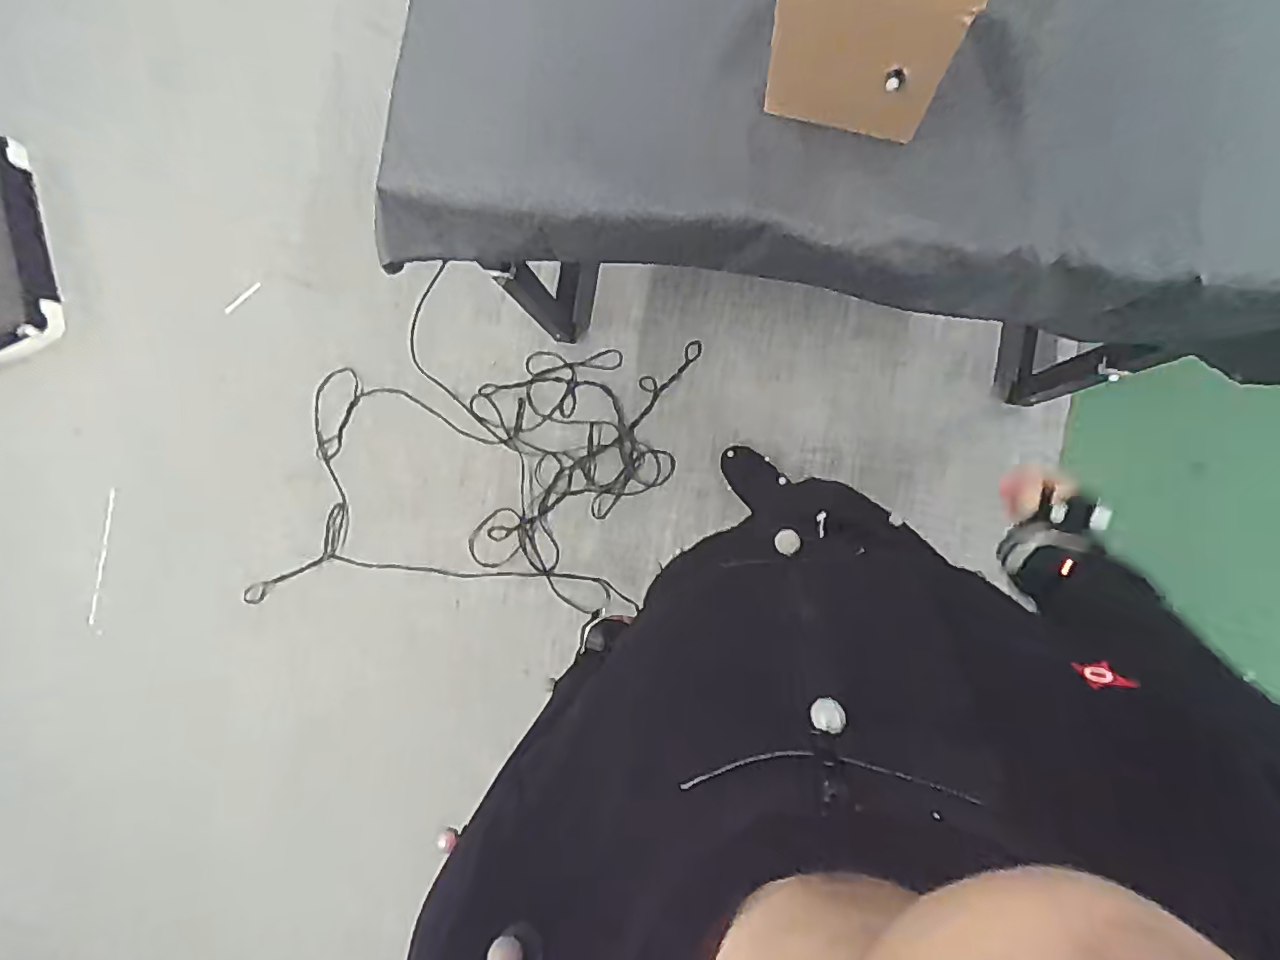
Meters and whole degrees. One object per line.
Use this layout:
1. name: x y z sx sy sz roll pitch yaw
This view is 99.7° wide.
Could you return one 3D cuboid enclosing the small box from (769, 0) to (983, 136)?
1. small box: 0.246 -0.497 0.560 0.179 0.176 0.168 18 89 9
